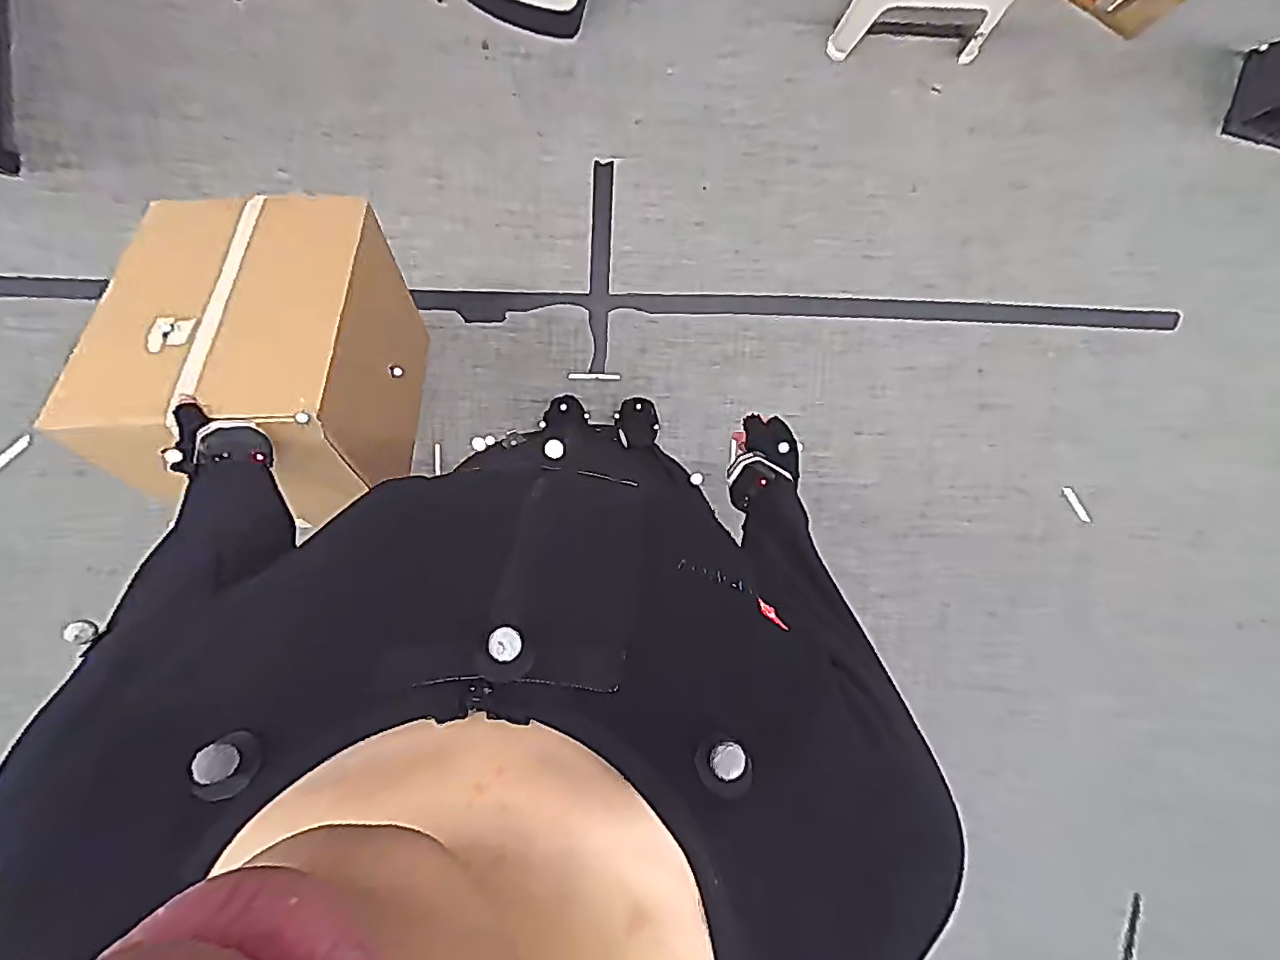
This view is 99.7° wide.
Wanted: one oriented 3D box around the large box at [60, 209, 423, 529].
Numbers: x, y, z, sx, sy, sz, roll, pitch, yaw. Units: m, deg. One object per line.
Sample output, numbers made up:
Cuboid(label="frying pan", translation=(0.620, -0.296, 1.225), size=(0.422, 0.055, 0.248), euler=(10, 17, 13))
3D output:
Cuboid(label="large box", translation=(-0.562, -0.169, 0.871), size=(0.320, 0.320, 0.408), euler=(-4, 63, -4))
